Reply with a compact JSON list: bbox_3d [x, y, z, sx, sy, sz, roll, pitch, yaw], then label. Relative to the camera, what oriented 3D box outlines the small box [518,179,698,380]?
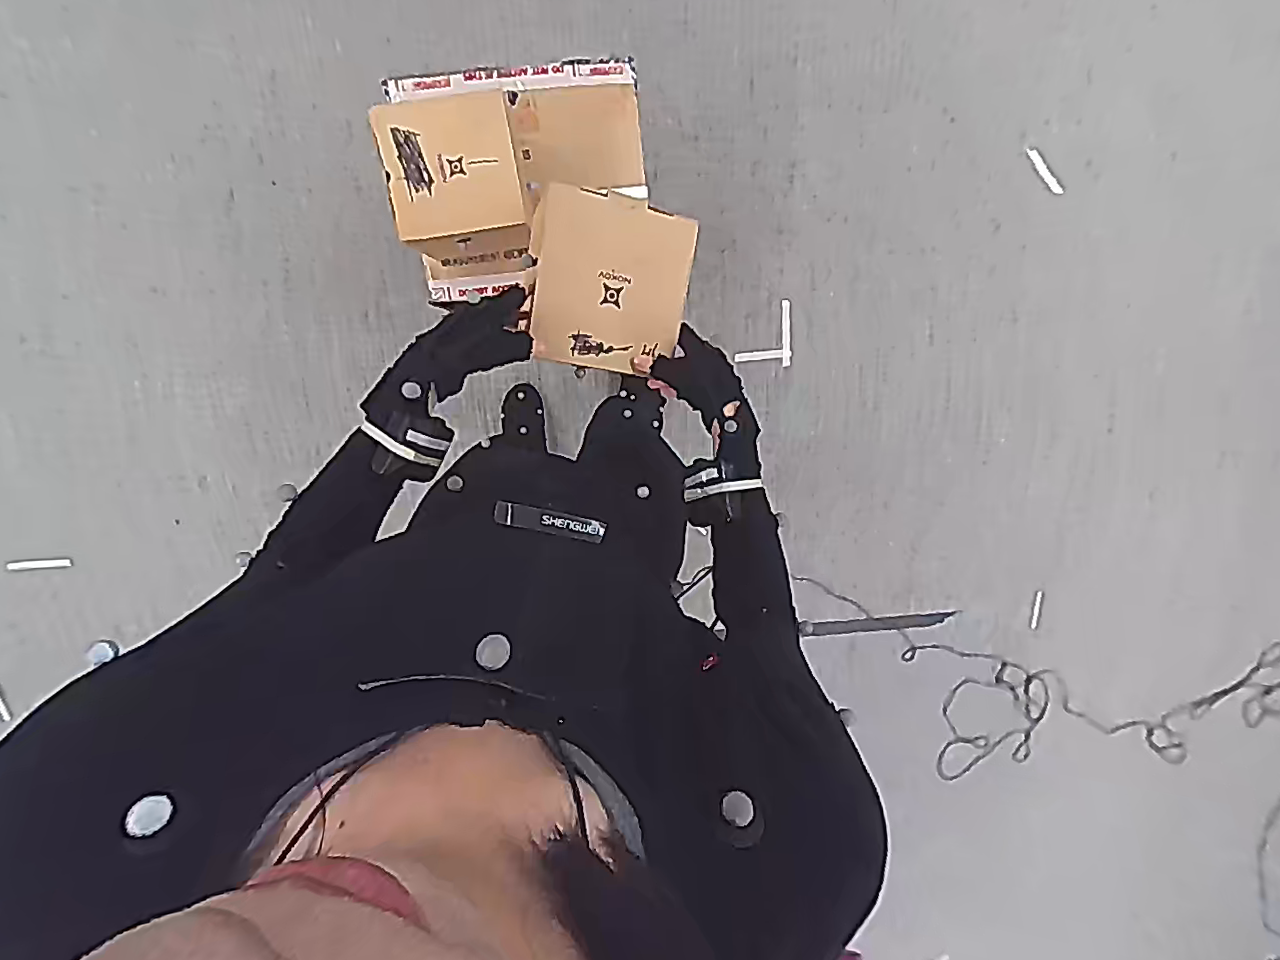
[{"bbox_3d":[-0.050,-0.226,0.651,0.168,0.176,0.179,7,102,-18],"label":"small box"}]

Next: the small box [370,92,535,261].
[{"bbox_3d":[-0.257,-0.428,0.790,0.179,0.176,0.168,-10,104,-3],"label":"small box"}]
